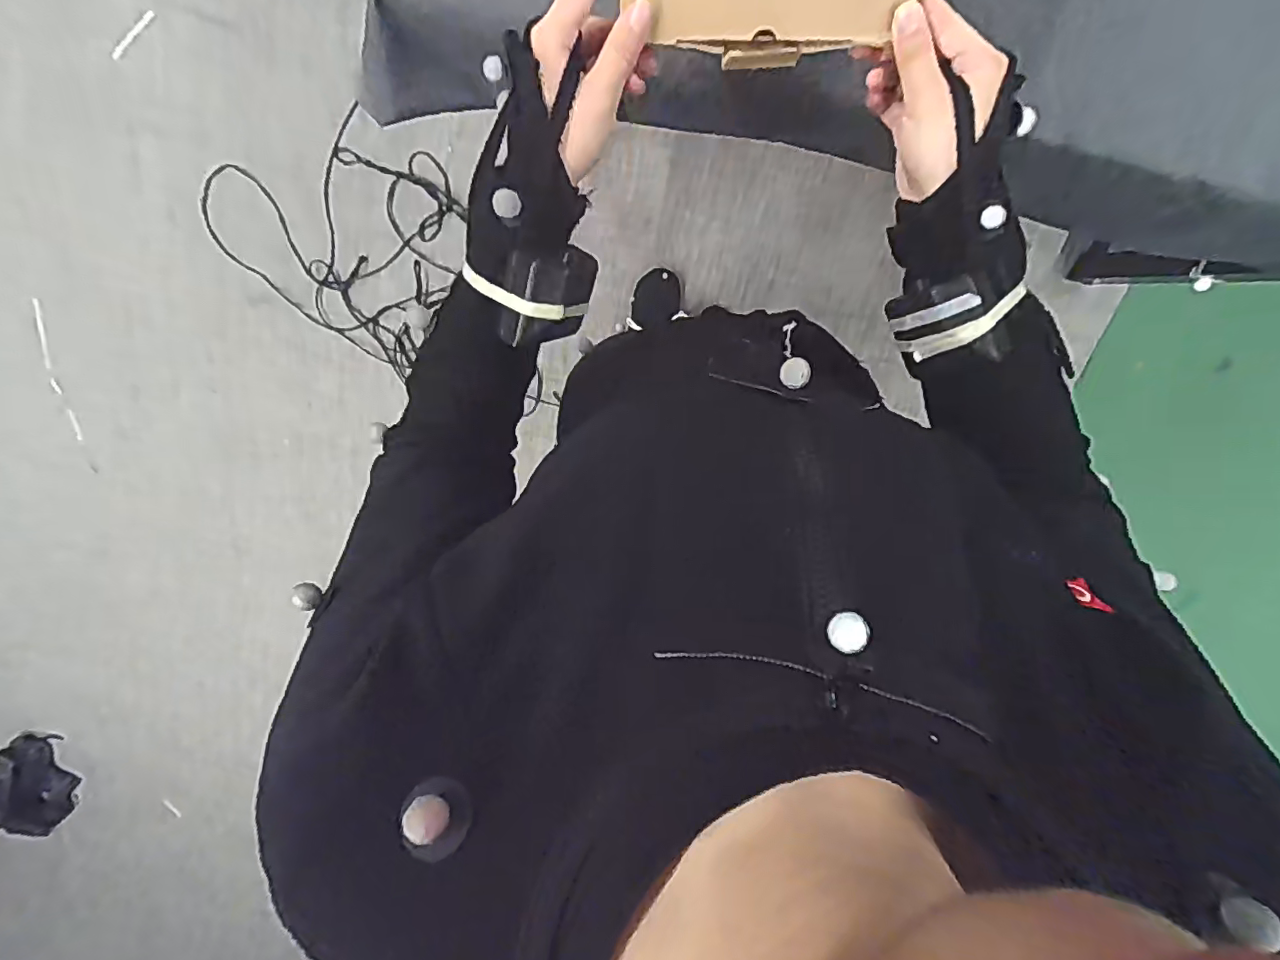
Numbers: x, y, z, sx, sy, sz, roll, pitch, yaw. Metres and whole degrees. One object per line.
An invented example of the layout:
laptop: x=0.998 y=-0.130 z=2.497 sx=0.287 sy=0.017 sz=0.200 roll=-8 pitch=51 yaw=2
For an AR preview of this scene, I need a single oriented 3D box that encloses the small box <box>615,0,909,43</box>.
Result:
small box: x=0.067 y=-0.370 z=0.296 sx=0.168 sy=0.176 sz=0.179 roll=-2 pitch=140 yaw=-1
